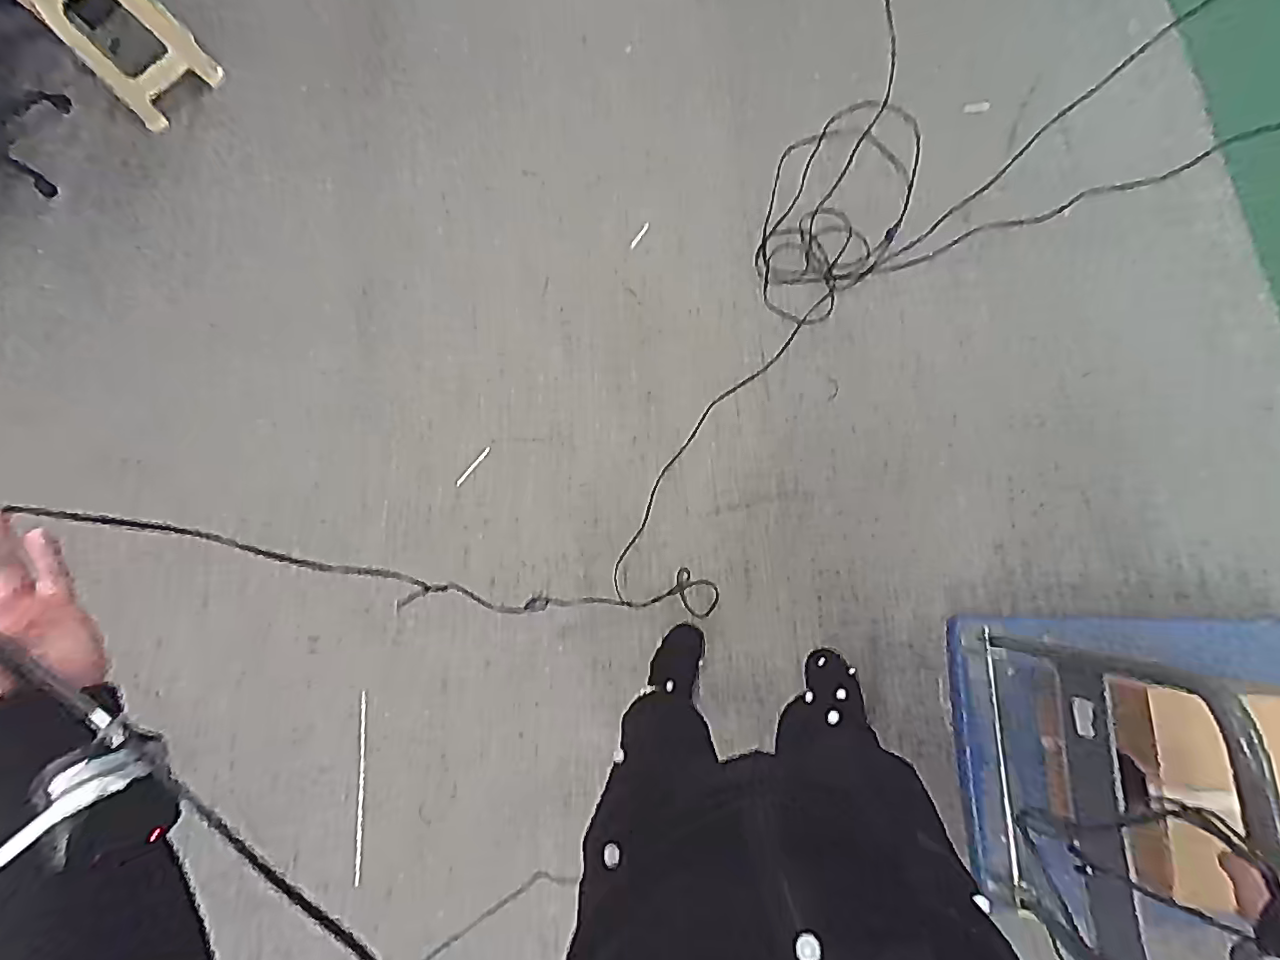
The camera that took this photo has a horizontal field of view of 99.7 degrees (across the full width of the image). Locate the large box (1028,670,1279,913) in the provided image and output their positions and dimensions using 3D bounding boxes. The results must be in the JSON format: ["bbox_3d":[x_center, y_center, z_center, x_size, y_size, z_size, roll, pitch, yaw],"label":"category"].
[{"bbox_3d":[1.008,0.524,0.970,0.408,0.320,0.320,2,78,7],"label":"large box"}]
